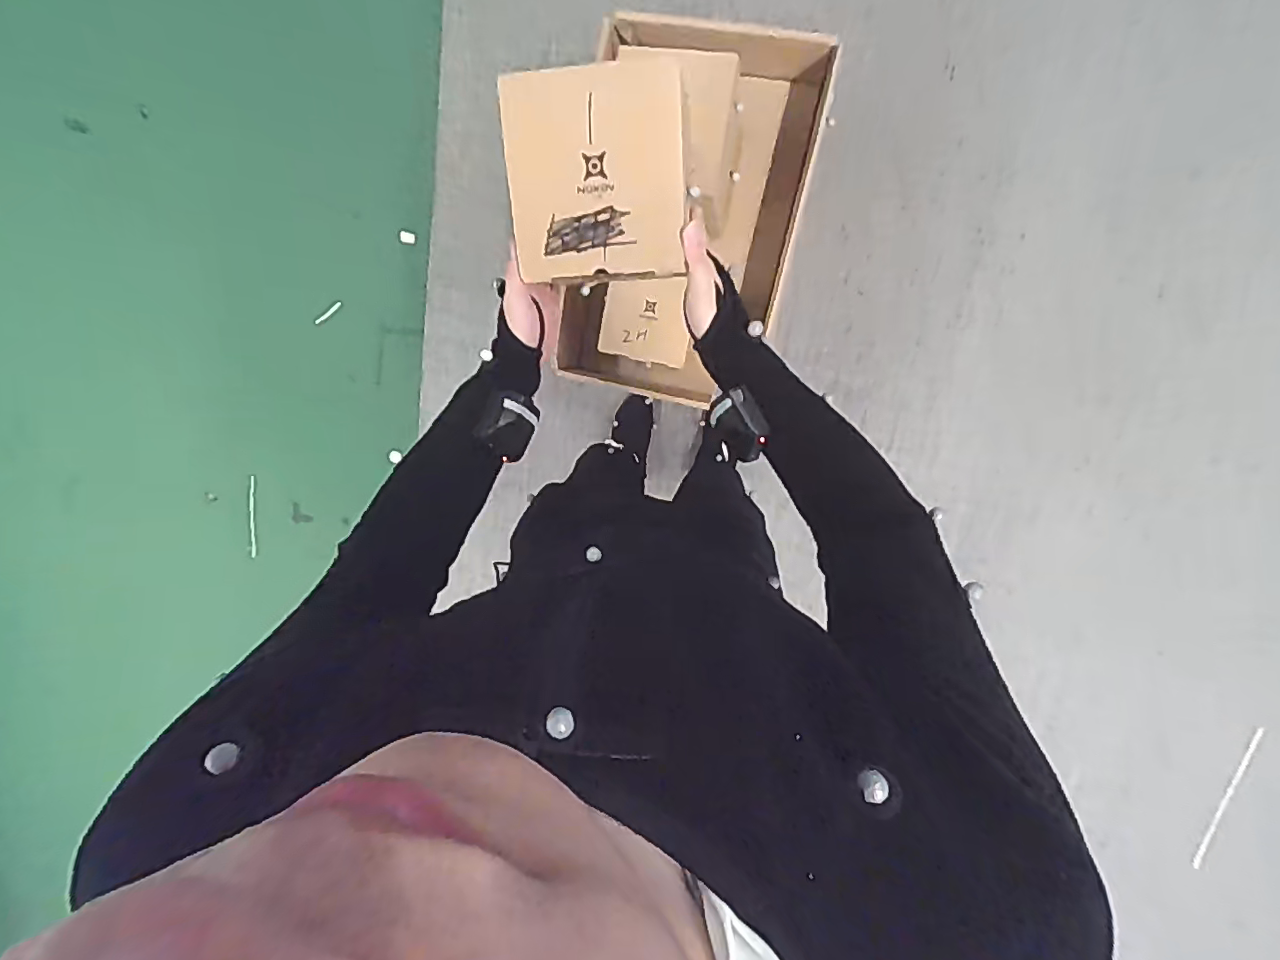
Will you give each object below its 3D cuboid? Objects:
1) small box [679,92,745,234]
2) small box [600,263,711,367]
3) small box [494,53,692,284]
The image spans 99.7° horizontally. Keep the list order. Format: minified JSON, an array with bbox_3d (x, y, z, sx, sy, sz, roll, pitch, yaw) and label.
[{"bbox_3d":[0.089,-0.562,0.975,0.168,0.176,0.179,13,107,9],"label":"small box"},{"bbox_3d":[0.036,-0.321,1.036,0.168,0.176,0.179,15,105,9],"label":"small box"},{"bbox_3d":[-0.033,-0.305,0.570,0.168,0.176,0.179,-1,108,9],"label":"small box"}]
